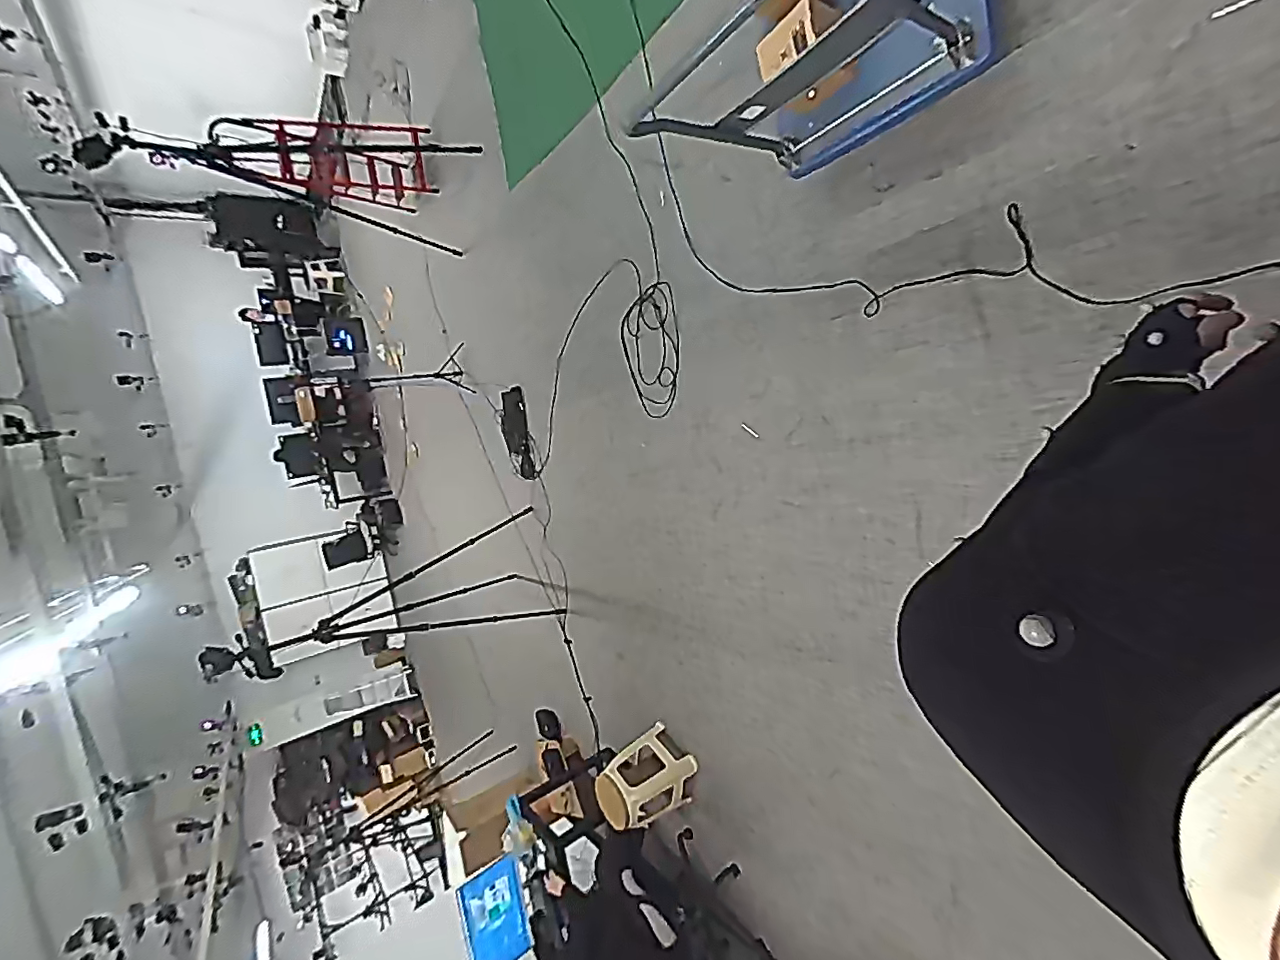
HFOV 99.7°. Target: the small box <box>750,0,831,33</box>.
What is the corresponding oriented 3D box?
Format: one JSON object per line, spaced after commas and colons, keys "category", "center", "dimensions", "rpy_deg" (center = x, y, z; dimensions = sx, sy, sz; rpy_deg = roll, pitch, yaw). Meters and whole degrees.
{"category": "small box", "center": [0.409, -1.359, 1.450], "dimensions": [0.179, 0.176, 0.168], "rpy_deg": [-3, 98, 52]}
